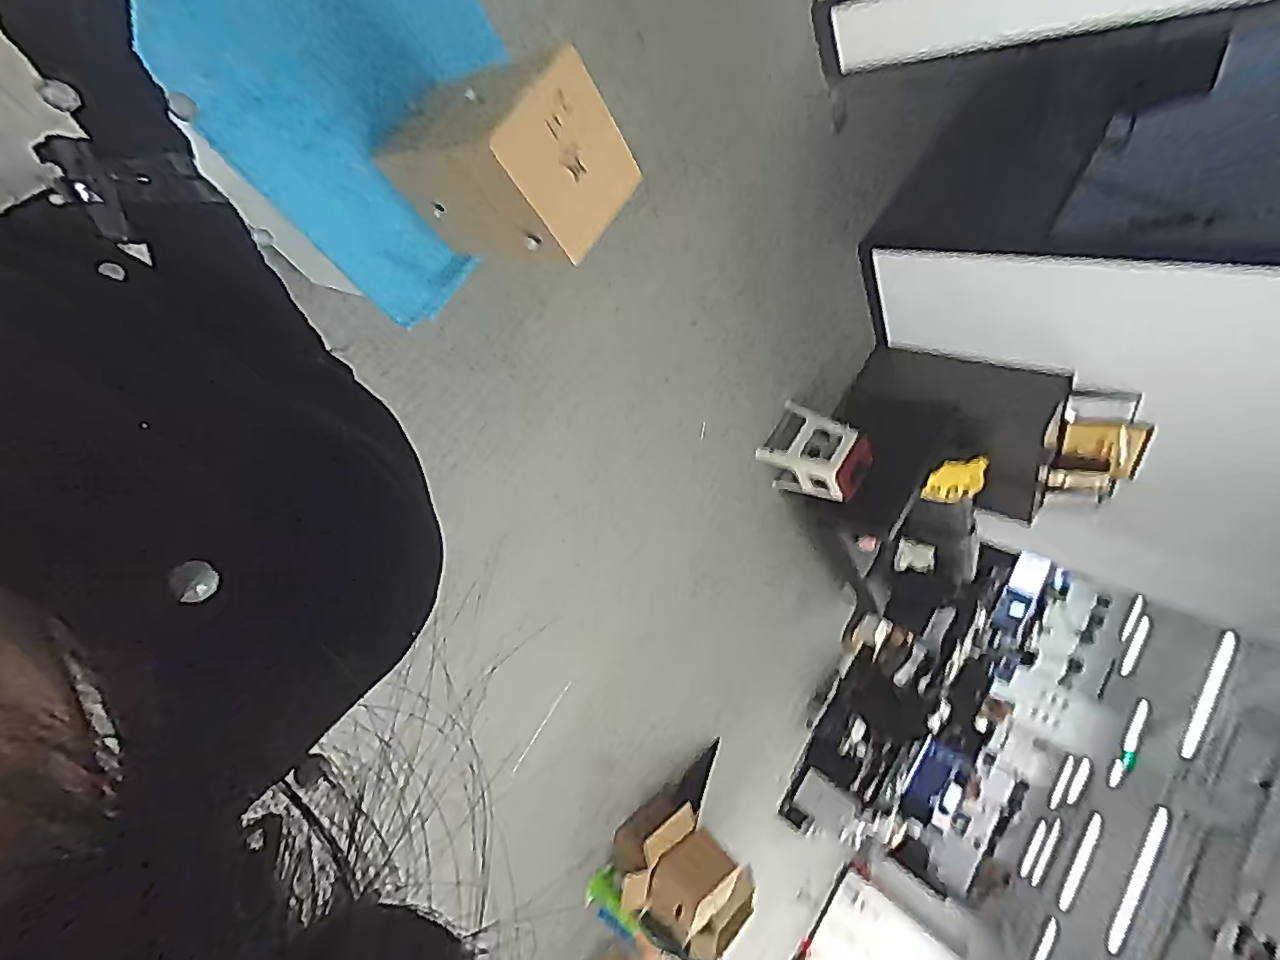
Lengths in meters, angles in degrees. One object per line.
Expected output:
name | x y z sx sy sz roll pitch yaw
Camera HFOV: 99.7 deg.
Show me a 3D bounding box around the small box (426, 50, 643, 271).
small box | -0.134 -0.401 0.700 0.168 0.176 0.179 -56 139 -12
